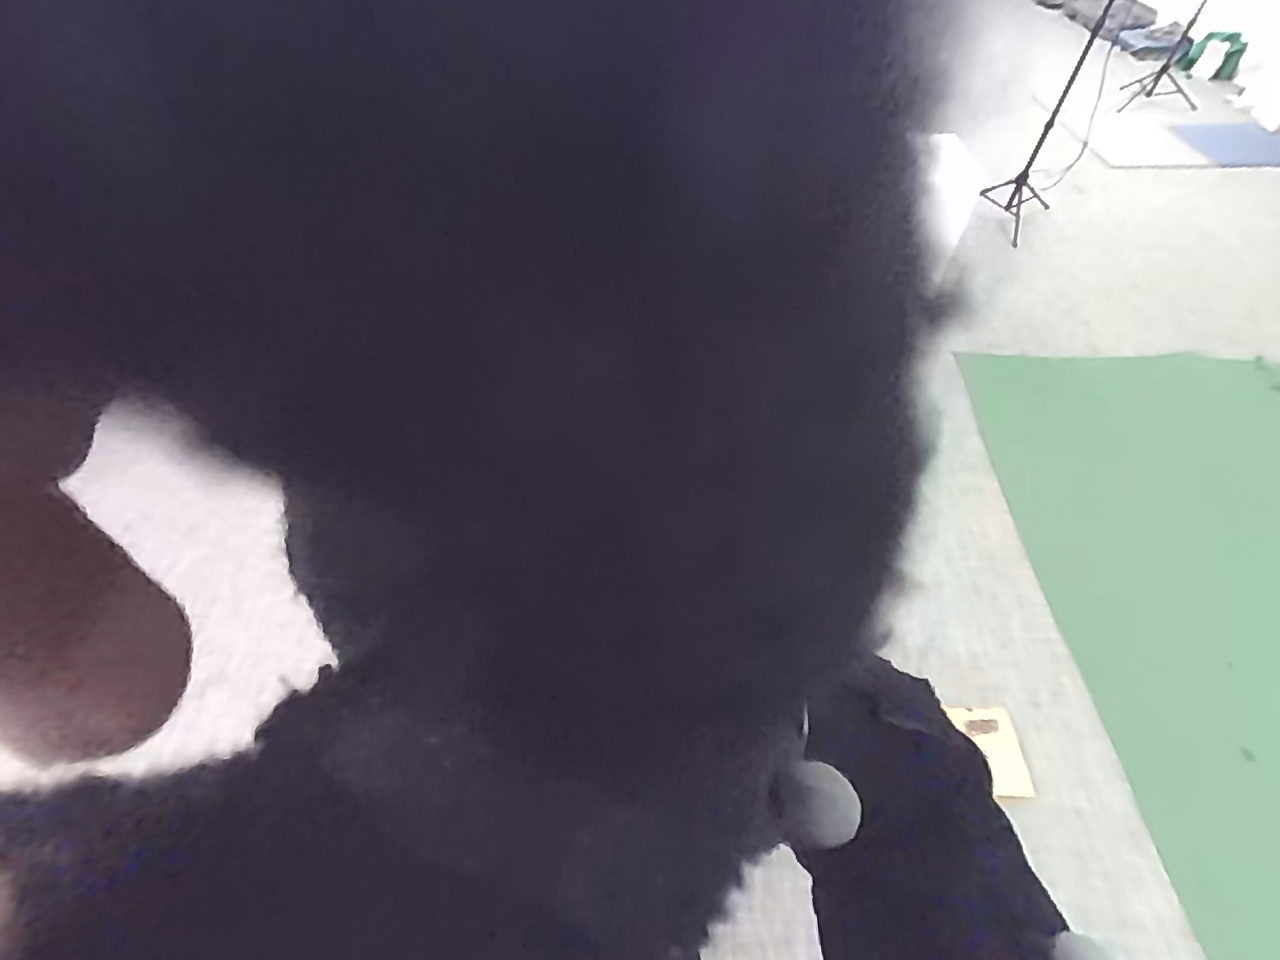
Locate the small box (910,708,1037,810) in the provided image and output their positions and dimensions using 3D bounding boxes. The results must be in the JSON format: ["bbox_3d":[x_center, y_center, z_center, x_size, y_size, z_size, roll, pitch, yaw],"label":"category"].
[{"bbox_3d":[0.741,0.634,1.226,0.168,0.176,0.179,1,54,2],"label":"small box"}]

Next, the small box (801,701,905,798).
[{"bbox_3d":[0.478,0.623,1.243,0.168,0.176,0.179,1,52,2],"label":"small box"}]
